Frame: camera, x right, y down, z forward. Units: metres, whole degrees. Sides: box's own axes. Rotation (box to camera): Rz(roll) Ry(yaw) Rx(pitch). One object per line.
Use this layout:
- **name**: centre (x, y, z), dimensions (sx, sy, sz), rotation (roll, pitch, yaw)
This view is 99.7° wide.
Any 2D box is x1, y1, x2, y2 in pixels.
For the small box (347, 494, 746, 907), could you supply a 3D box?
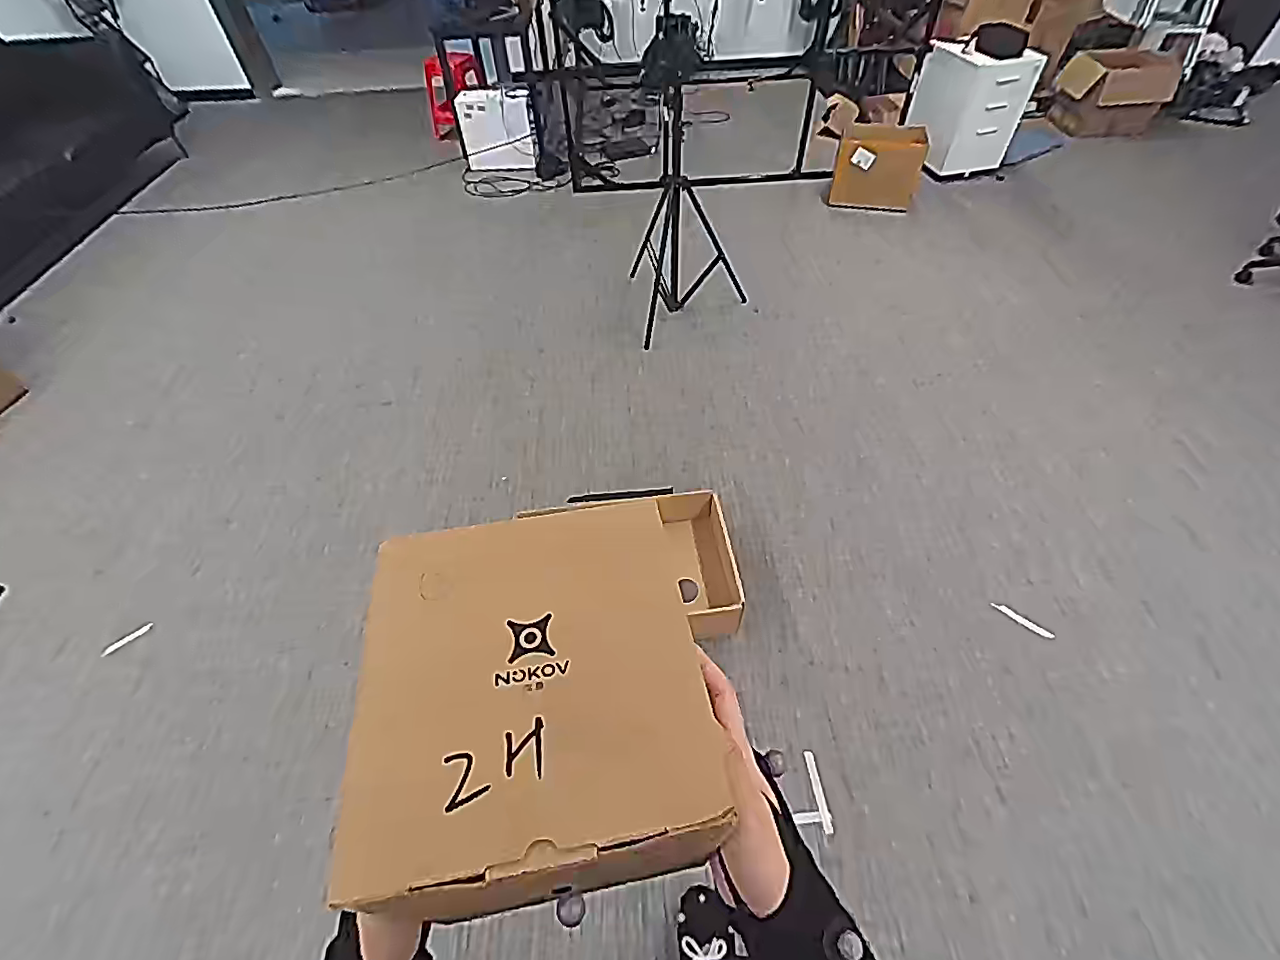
- **small box**: centre (-0.050, 0.135, 0.334), dimensions (0.168, 0.176, 0.179), rotation (-8, 50, -7)
